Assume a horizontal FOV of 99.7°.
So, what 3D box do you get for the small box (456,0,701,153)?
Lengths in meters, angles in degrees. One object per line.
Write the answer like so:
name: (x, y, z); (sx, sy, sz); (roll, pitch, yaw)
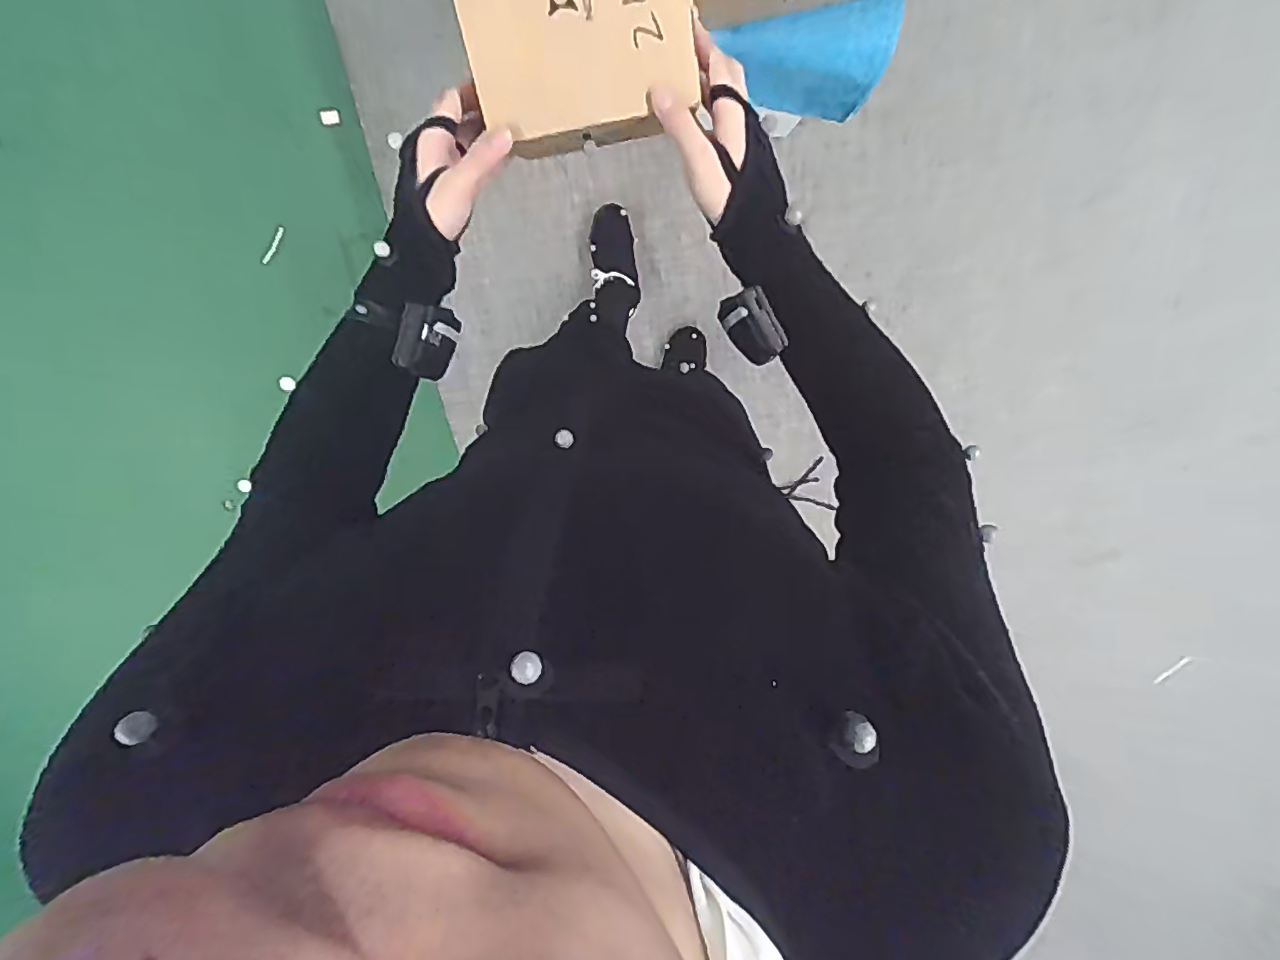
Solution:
small box: (-0.048, -0.394, 0.464); (0.179, 0.176, 0.168); (-9, 117, 4)
